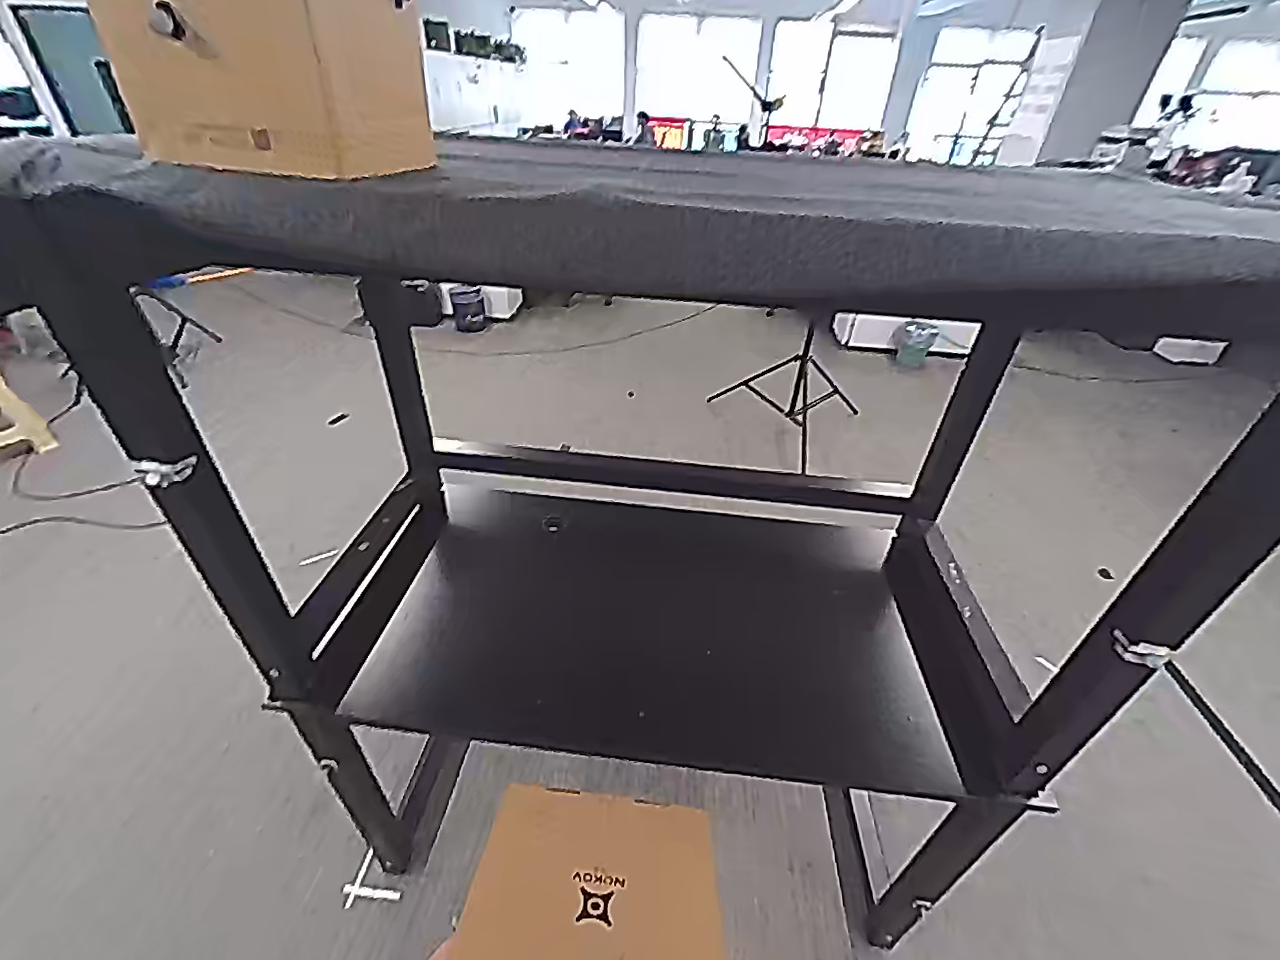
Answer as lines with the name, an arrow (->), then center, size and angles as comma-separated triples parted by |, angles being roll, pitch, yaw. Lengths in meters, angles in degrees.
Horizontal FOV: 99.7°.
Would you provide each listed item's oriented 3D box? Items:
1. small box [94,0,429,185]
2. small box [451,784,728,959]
small box -> -0.296, -0.351, 0.454 | 0.168, 0.176, 0.179 | 7, 33, 3
small box -> -0.037, 0.353, 0.370 | 0.168, 0.176, 0.179 | 7, 14, 0
